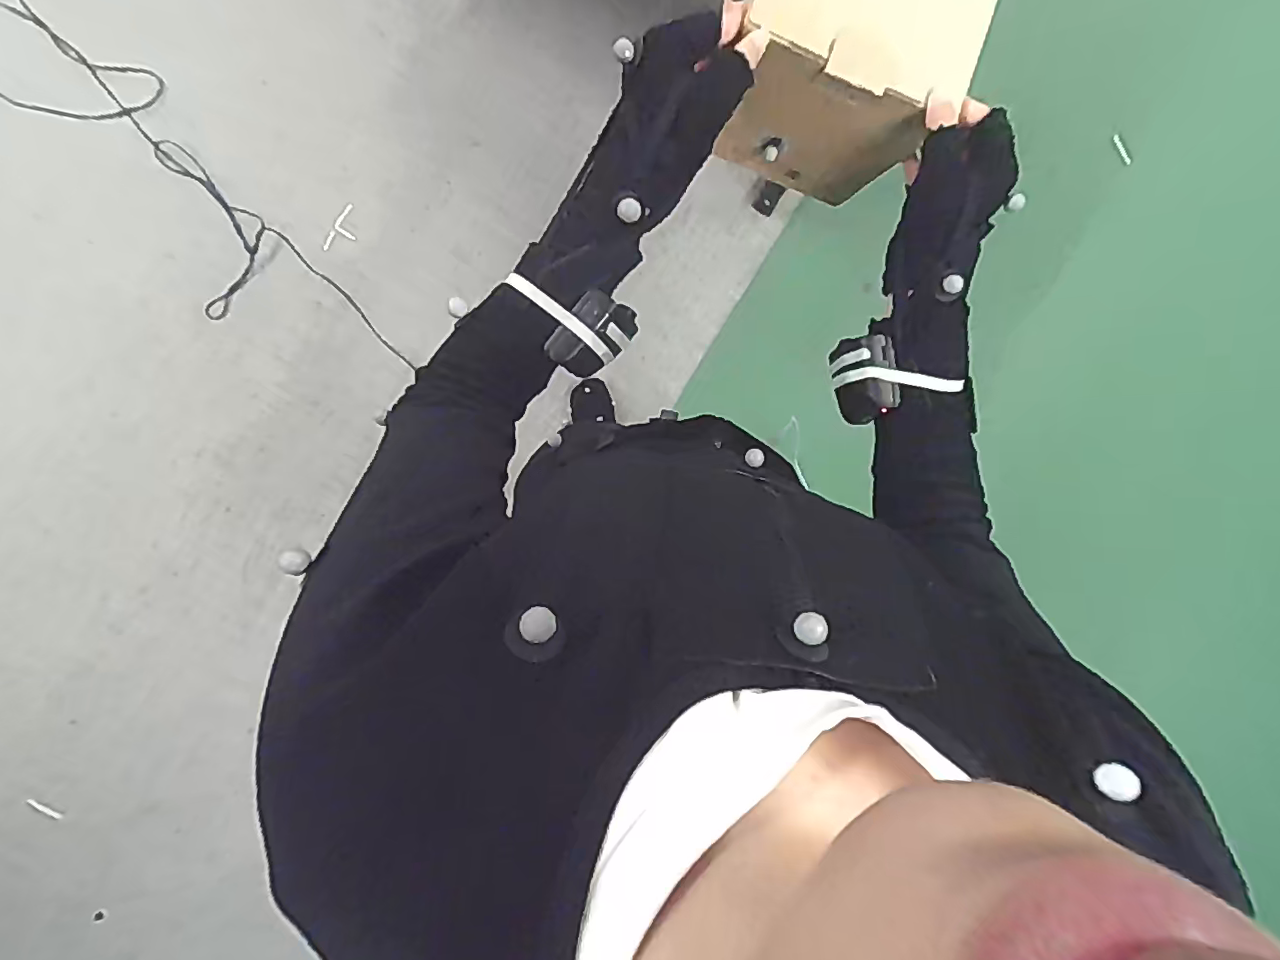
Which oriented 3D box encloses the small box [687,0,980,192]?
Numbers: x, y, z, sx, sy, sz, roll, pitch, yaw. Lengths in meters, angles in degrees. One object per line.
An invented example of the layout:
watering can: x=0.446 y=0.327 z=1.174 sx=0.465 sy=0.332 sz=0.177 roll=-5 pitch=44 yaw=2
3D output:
small box: x=0.150 y=-0.376 z=0.440 sx=0.168 sy=0.176 sz=0.179 roll=15 pitch=96 yaw=-11
